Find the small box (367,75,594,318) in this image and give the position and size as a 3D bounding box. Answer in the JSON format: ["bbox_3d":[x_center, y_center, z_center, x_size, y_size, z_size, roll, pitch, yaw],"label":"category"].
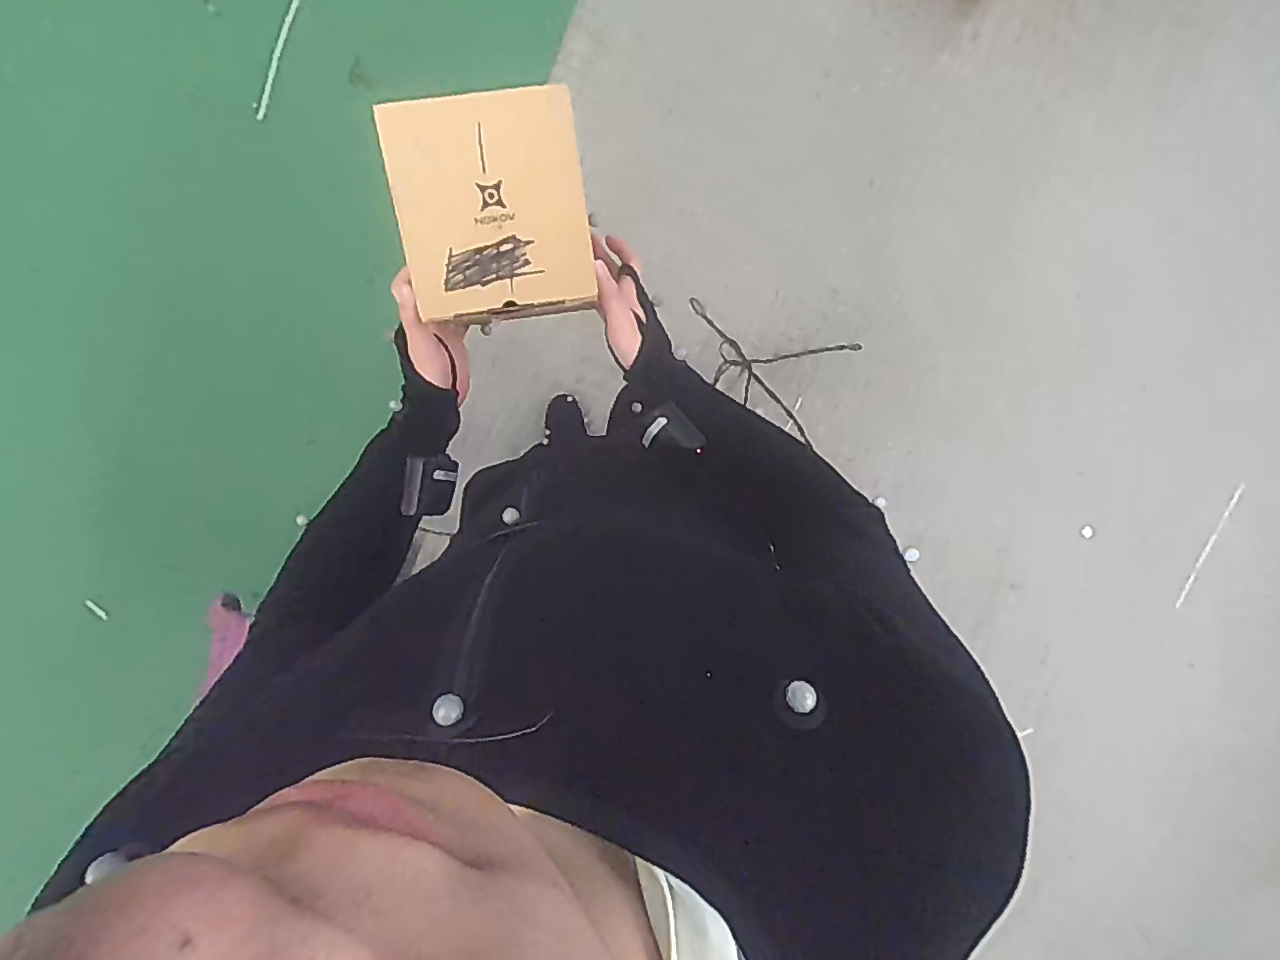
[{"bbox_3d":[-0.136,-0.258,0.536,0.168,0.176,0.179,-8,104,-3],"label":"small box"}]
